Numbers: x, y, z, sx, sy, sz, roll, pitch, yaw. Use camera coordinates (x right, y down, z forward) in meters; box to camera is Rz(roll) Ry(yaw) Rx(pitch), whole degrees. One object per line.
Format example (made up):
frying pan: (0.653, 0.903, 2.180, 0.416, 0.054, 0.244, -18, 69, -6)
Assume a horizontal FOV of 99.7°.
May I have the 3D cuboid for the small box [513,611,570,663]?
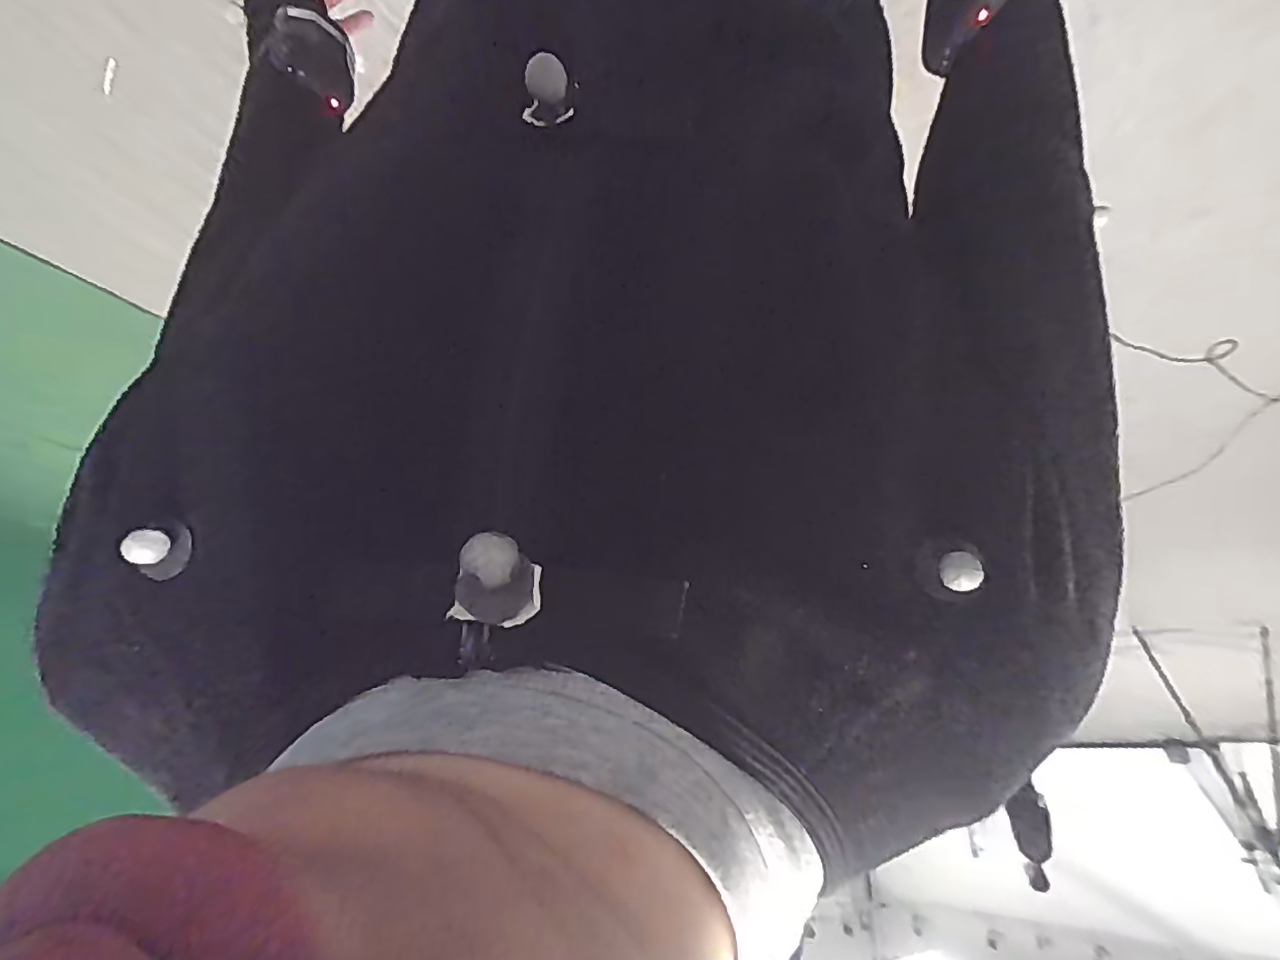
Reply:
small box: (-0.418, 0.676, 2.326, 0.168, 0.176, 0.179, 29, 142, -34)
